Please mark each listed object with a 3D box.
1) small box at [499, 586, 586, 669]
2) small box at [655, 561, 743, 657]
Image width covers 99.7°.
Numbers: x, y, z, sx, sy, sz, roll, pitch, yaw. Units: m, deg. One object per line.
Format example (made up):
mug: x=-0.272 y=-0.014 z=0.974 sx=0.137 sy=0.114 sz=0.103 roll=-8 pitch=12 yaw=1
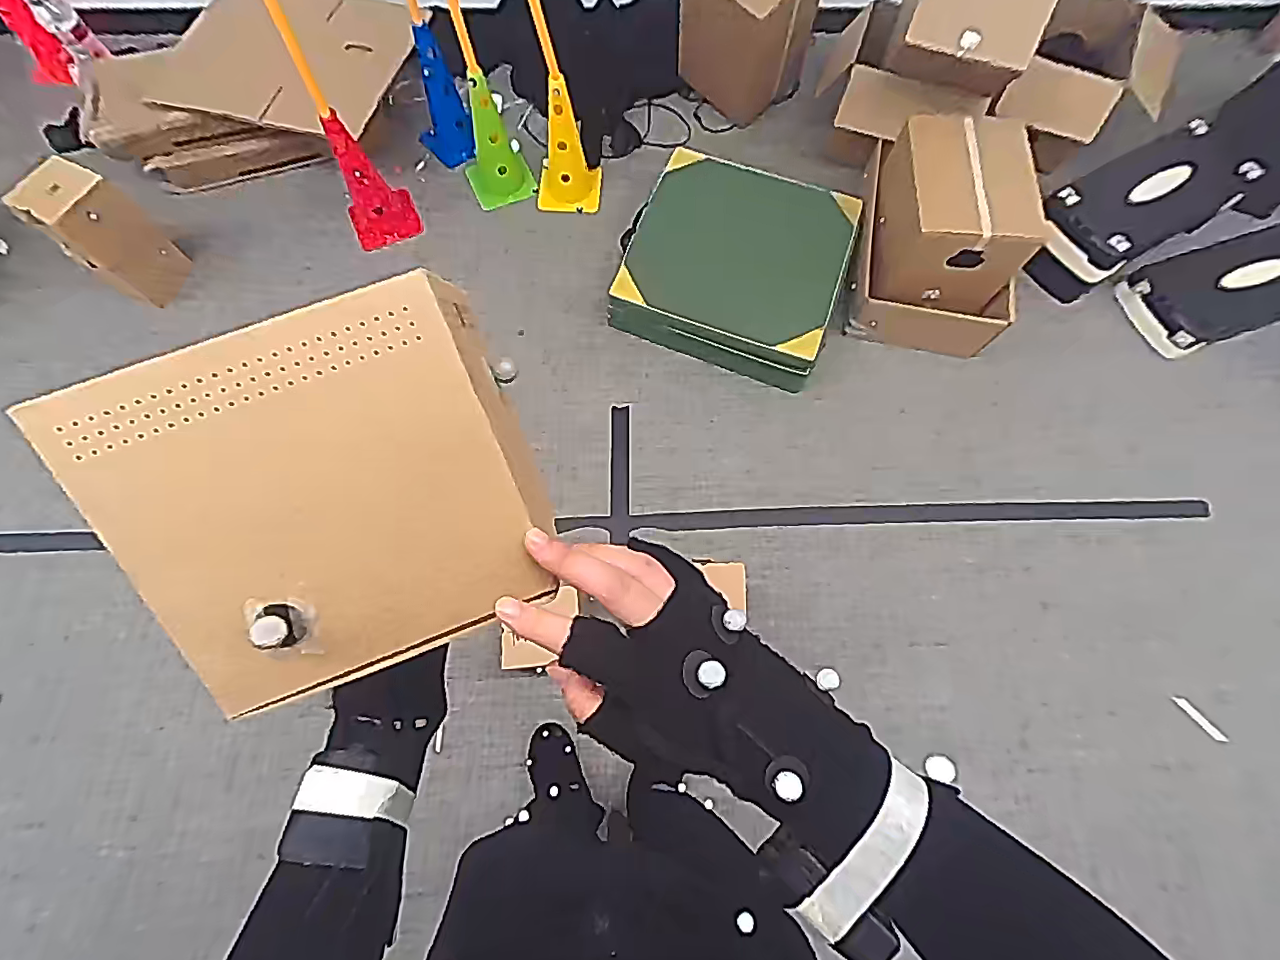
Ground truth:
small box: x=-0.223 y=0.350 z=1.265 sx=0.179 sy=0.176 sz=0.168 roll=-5 pitch=71 yaw=-4
small box: x=0.118 y=0.273 z=1.128 sx=0.168 sy=0.176 sz=0.179 roll=2 pitch=72 yaw=0
